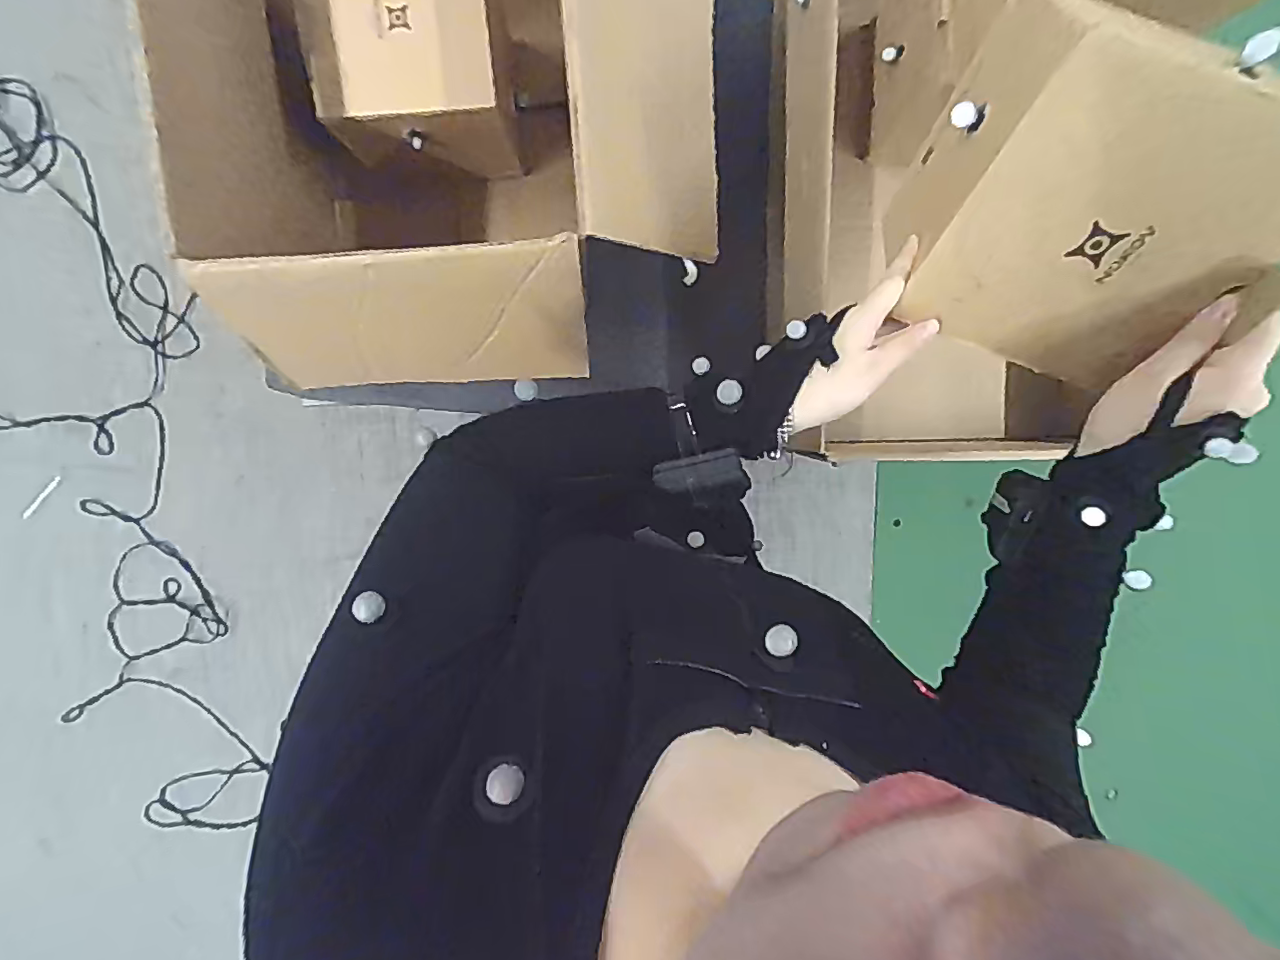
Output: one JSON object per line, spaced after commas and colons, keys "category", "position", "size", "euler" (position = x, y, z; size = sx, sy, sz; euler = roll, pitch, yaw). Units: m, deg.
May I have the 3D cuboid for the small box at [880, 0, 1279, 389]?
{"category": "small box", "position": [0.285, -0.198, 0.367], "size": [0.179, 0.168, 0.176], "euler": [19, 51, -2]}
